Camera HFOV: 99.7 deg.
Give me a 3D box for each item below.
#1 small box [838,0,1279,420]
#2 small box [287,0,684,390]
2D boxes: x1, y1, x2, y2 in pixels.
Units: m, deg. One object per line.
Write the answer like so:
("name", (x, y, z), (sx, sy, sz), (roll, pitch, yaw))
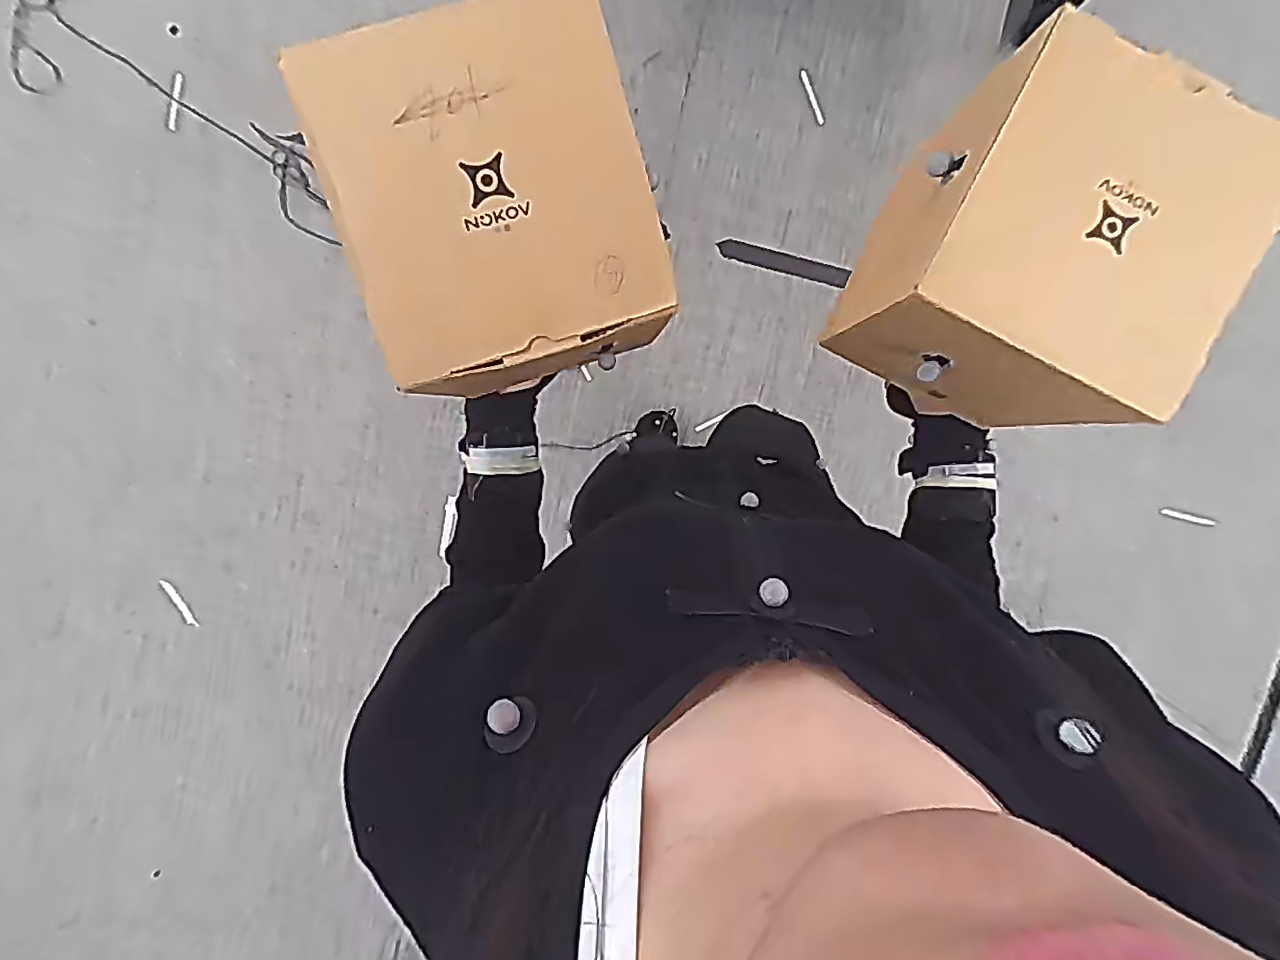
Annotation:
("small box", (0.265, -0.153, 0.379), (0.168, 0.176, 0.179), (26, 92, -2))
("small box", (-0.081, -0.166, 0.364), (0.168, 0.176, 0.179), (-18, 98, -3))
